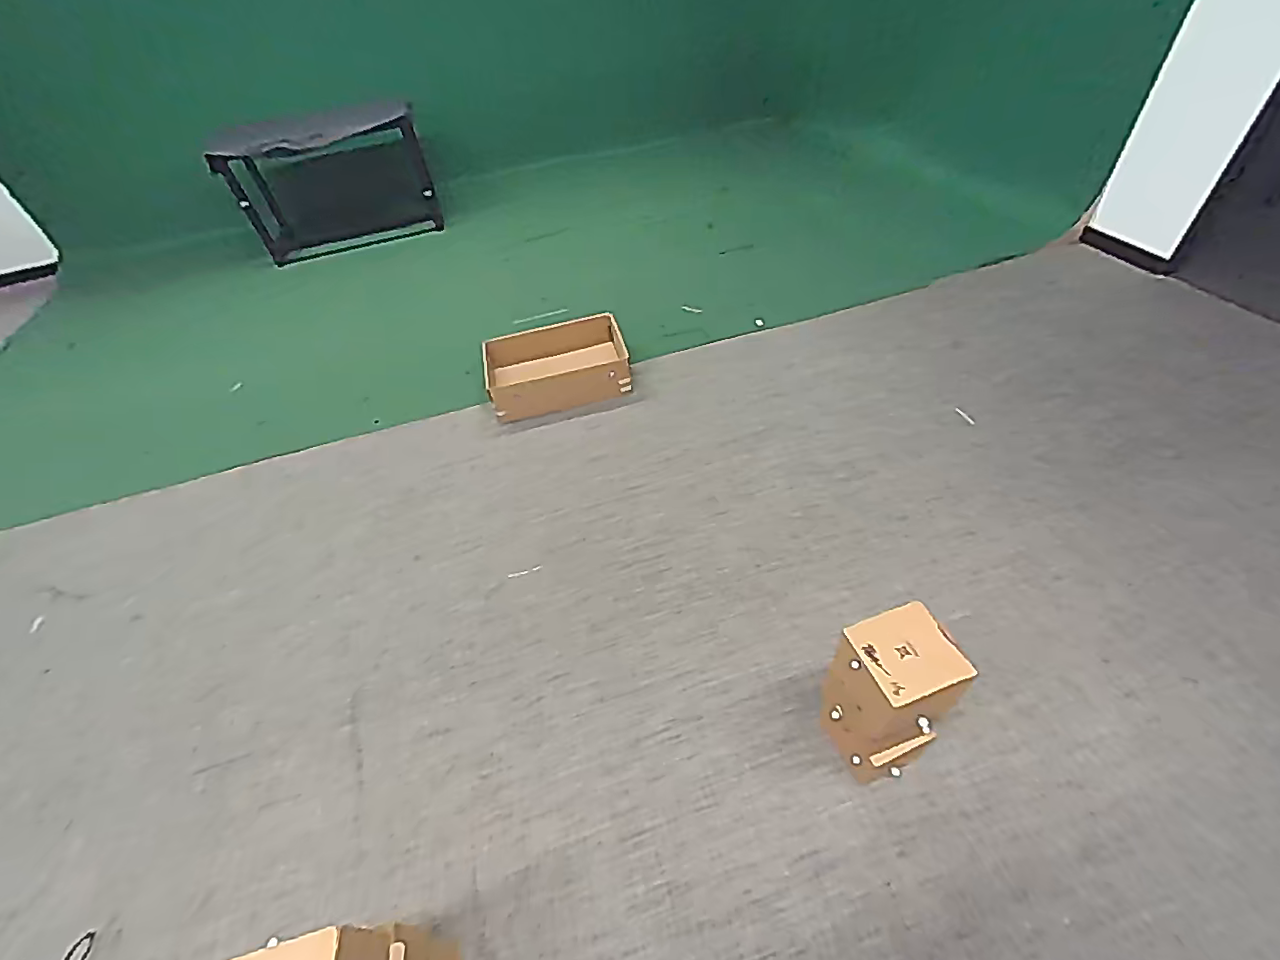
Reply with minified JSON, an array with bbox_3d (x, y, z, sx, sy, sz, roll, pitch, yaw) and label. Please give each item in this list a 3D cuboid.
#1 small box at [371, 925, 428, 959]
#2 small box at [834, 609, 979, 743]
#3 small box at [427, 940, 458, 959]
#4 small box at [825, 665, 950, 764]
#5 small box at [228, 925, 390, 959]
[{"bbox_3d":[-0.484,0.902,0.937,0.179,0.176,0.168,-15,46,-4],"label":"small box"},{"bbox_3d":[0.510,0.387,1.065,0.179,0.176,0.168,-16,46,-8],"label":"small box"},{"bbox_3d":[-0.462,1.022,1.047,0.179,0.176,0.168,-15,46,-5],"label":"small box"},{"bbox_3d":[0.531,0.493,1.189,0.179,0.176,0.168,-18,46,-7],"label":"small box"},{"bbox_3d":[-0.505,0.800,0.808,0.179,0.176,0.168,-15,47,-4],"label":"small box"}]
